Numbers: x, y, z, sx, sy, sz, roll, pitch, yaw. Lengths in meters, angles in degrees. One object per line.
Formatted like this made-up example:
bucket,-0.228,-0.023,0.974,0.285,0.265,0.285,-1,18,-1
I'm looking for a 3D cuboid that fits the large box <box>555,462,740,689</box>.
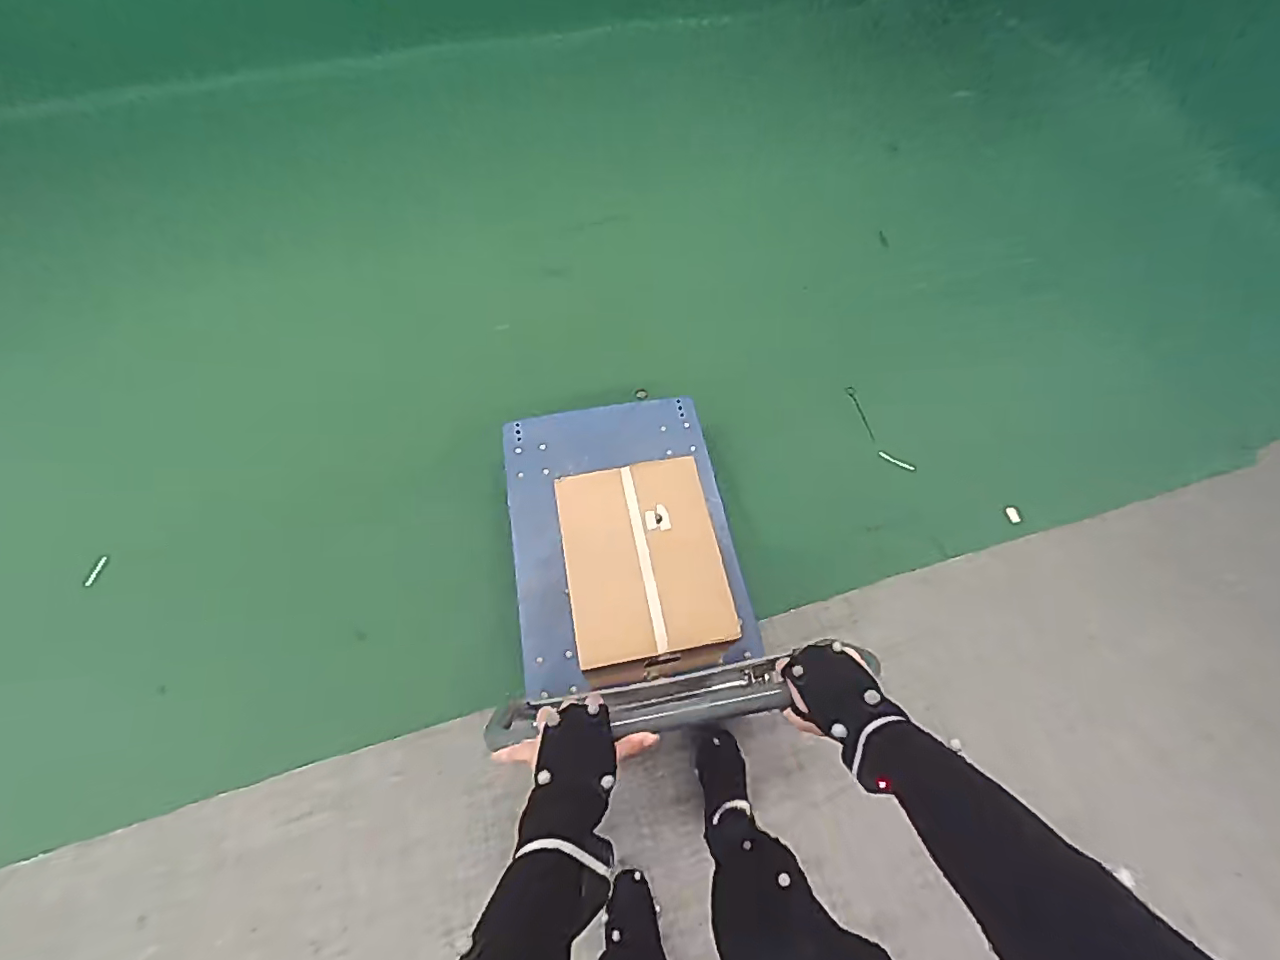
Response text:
large box,0.005,0.226,1.241,0.320,0.320,0.408,-10,63,-6
